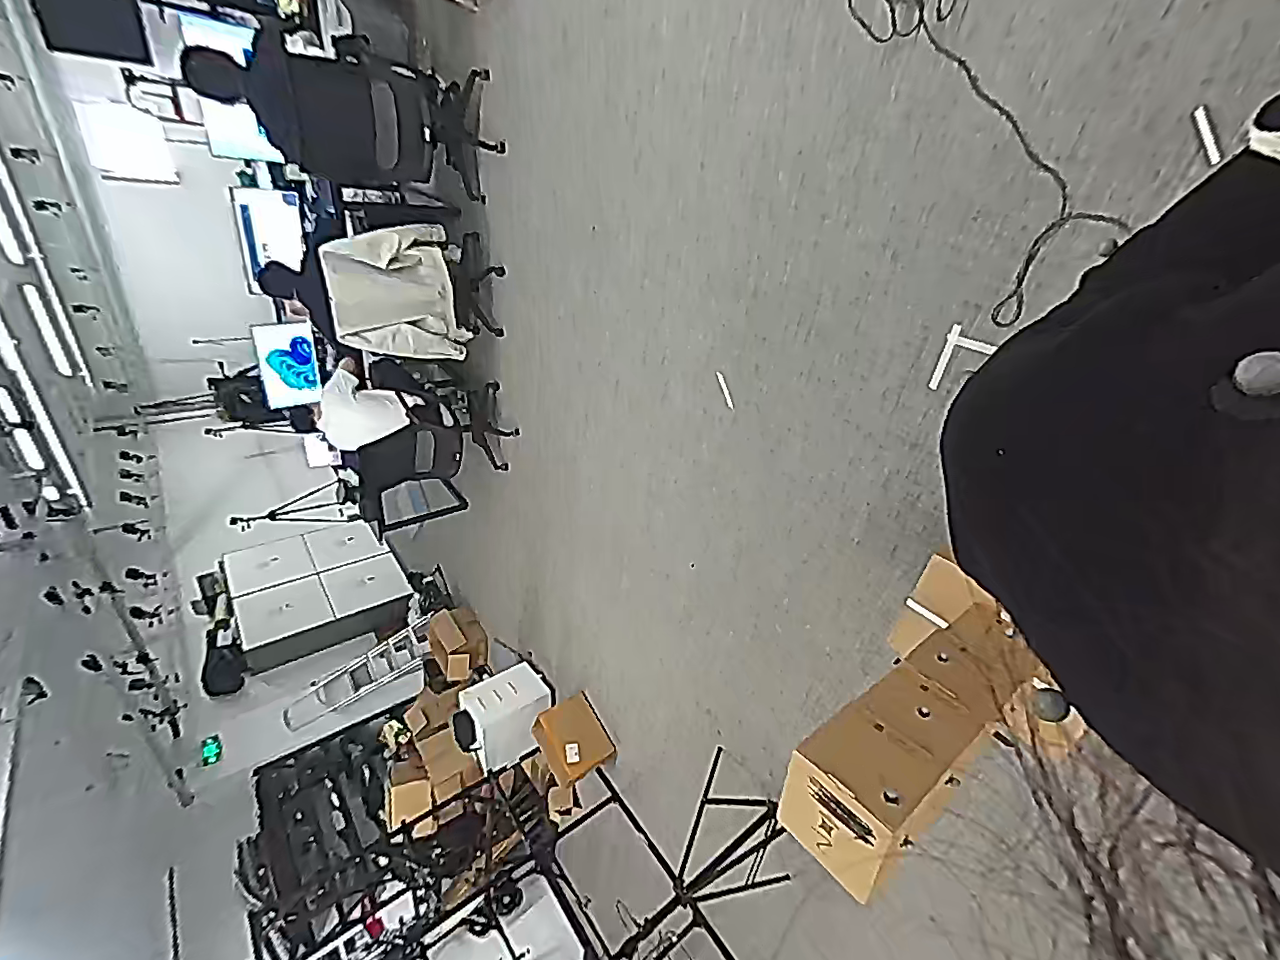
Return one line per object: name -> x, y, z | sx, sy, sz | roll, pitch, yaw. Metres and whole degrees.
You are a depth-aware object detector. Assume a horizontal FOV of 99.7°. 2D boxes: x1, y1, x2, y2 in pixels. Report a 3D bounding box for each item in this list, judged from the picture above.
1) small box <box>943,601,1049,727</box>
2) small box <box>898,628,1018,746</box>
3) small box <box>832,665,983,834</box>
small box -> 0.732, 0.395, 1.159 | 0.168, 0.176, 0.179 | 36, 129, 39
small box -> 0.604, 0.425, 1.064 | 0.168, 0.176, 0.179 | 36, 131, 41
small box -> 0.478, 0.468, 0.967 | 0.168, 0.176, 0.179 | 32, 127, 44
